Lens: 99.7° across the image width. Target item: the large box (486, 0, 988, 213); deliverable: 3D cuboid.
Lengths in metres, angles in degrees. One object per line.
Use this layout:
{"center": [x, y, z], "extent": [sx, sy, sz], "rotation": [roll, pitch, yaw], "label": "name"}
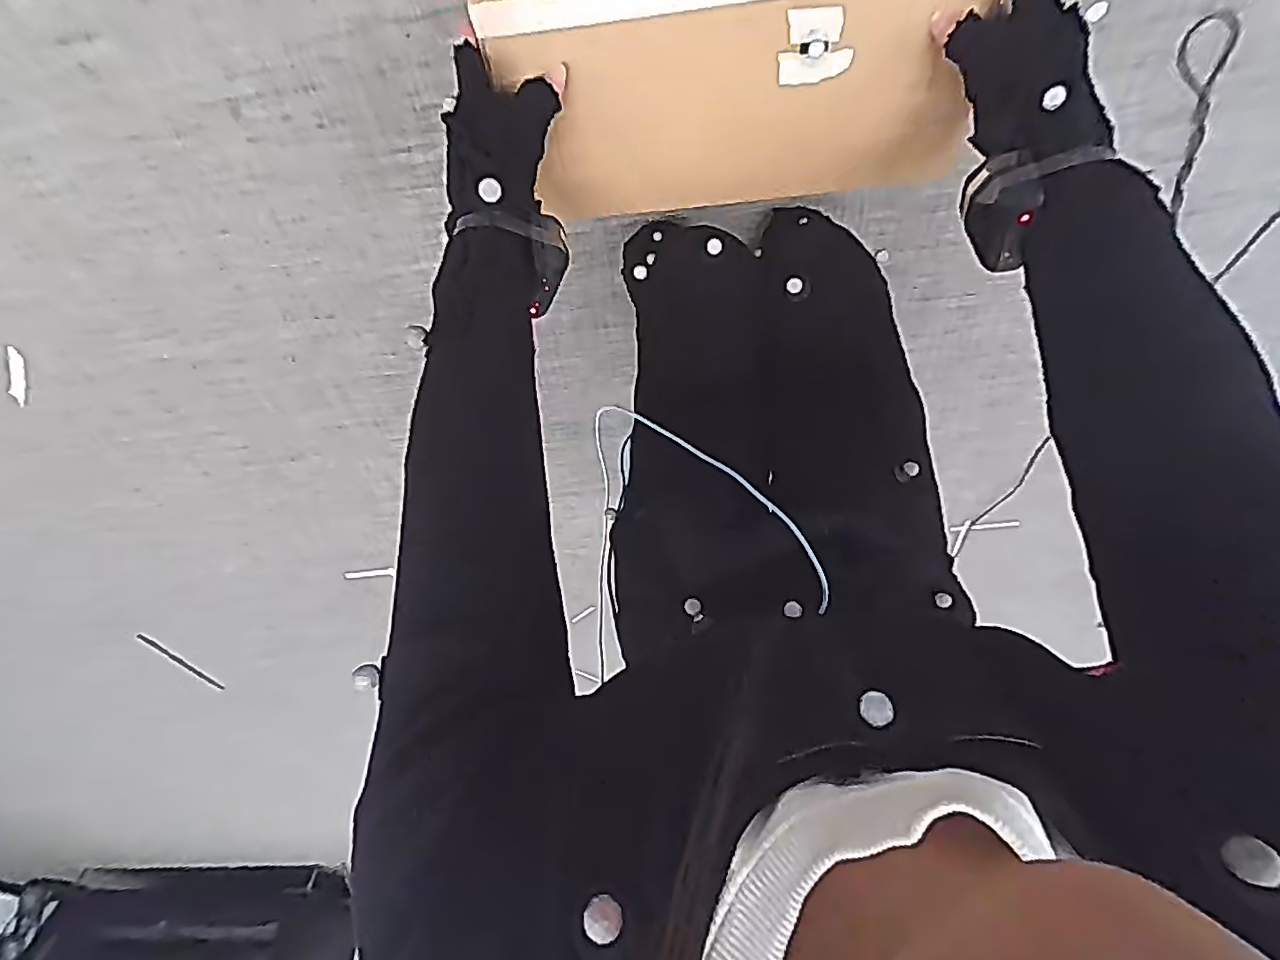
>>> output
{"center": [0.074, -0.492, 0.526], "extent": [0.408, 0.320, 0.320], "rotation": [-4, 133, 5], "label": "large box"}
